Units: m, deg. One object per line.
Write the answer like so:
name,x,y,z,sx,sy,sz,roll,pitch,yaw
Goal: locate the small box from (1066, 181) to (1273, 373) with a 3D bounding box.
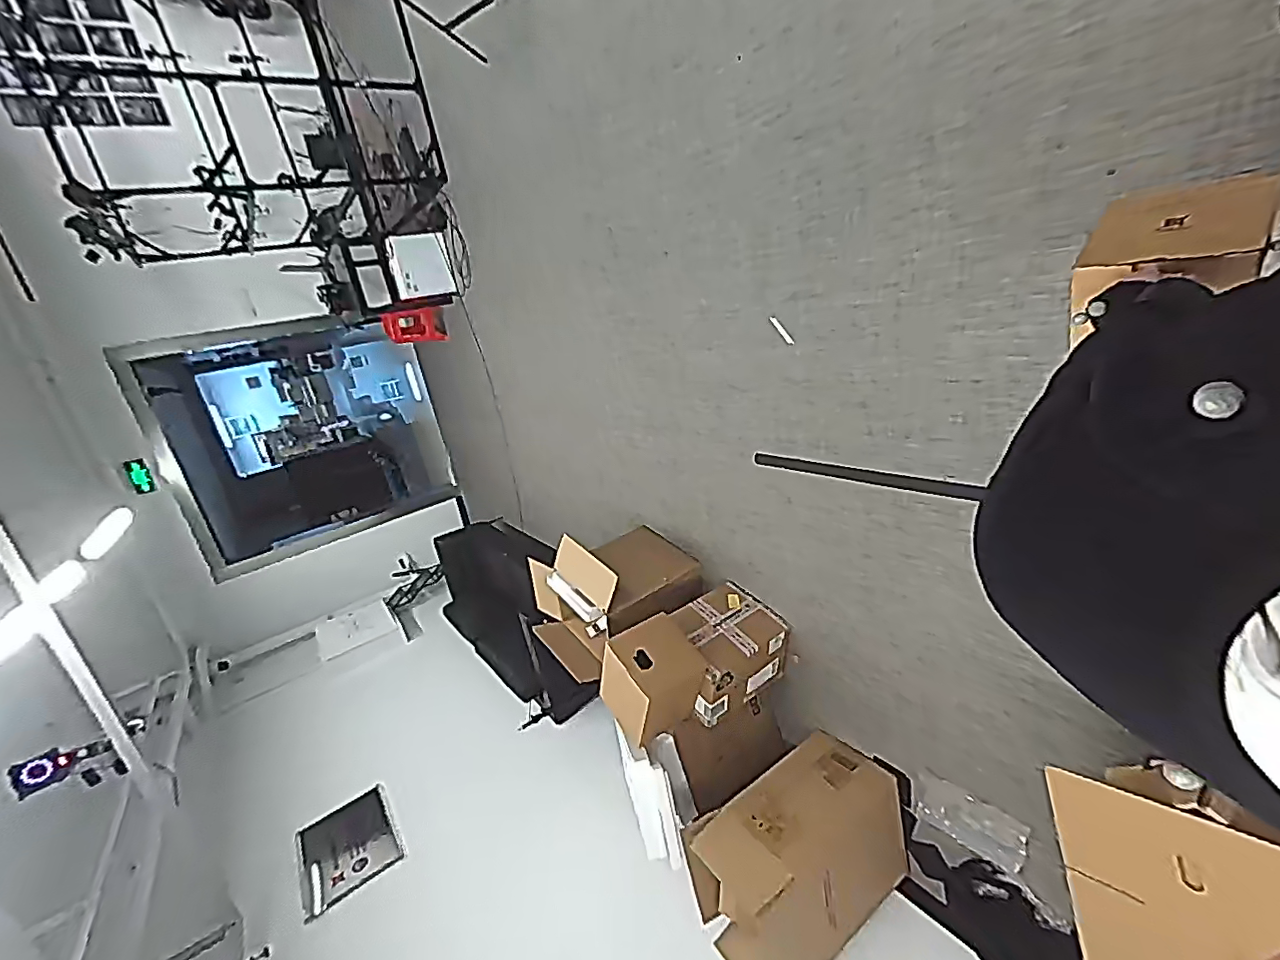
small box,0.694,-0.259,0.722,0.168,0.179,0.176,15,144,45
